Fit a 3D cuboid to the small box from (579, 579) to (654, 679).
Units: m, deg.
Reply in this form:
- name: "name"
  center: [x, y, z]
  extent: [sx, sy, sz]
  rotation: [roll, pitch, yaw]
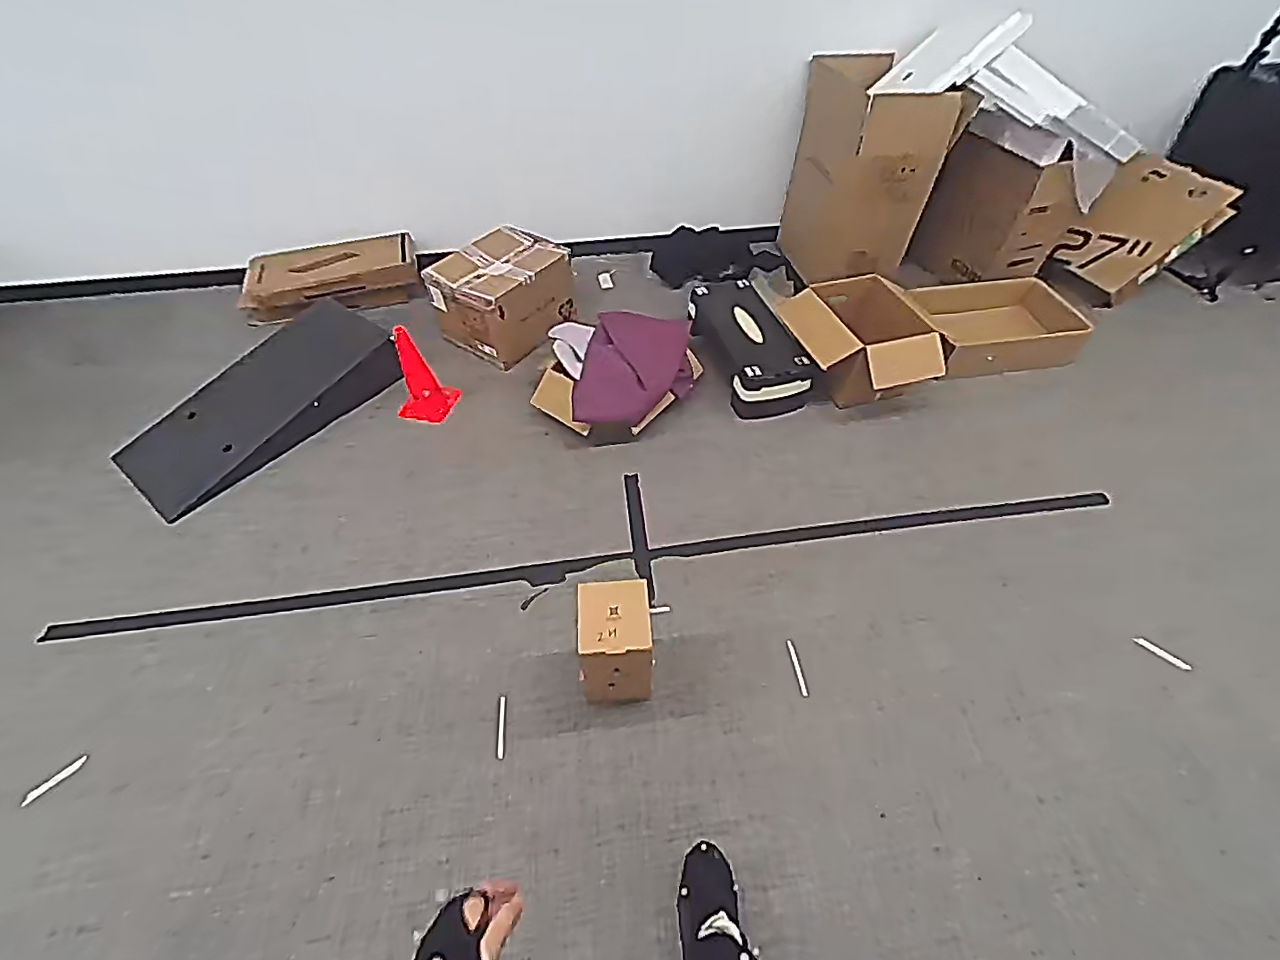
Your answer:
- name: "small box"
  center: [-0.057, 0.358, 1.293]
  extent: [0.168, 0.176, 0.179]
  rotation: [-4, 51, -2]

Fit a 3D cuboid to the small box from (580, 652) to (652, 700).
- name: "small box"
  center: [-0.061, 0.466, 1.417]
  extent: [0.179, 0.176, 0.168]
  rotation: [-3, 51, -2]
